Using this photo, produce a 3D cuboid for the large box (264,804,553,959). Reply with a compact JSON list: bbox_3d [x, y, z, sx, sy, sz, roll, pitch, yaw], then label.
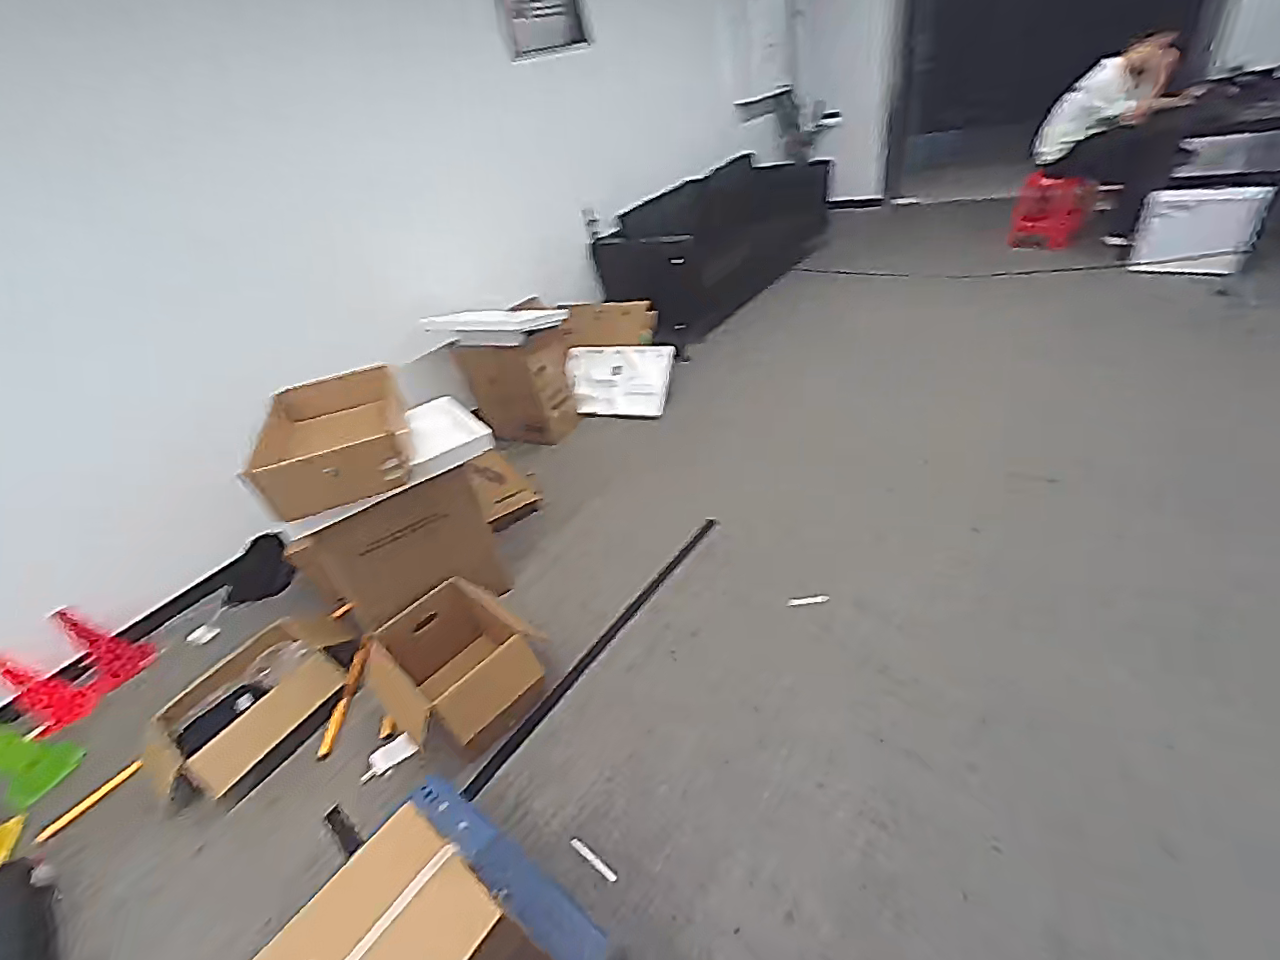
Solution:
[{"bbox_3d":[-0.430,0.908,0.968,0.320,0.320,0.408,17,46,37],"label":"large box"}]
